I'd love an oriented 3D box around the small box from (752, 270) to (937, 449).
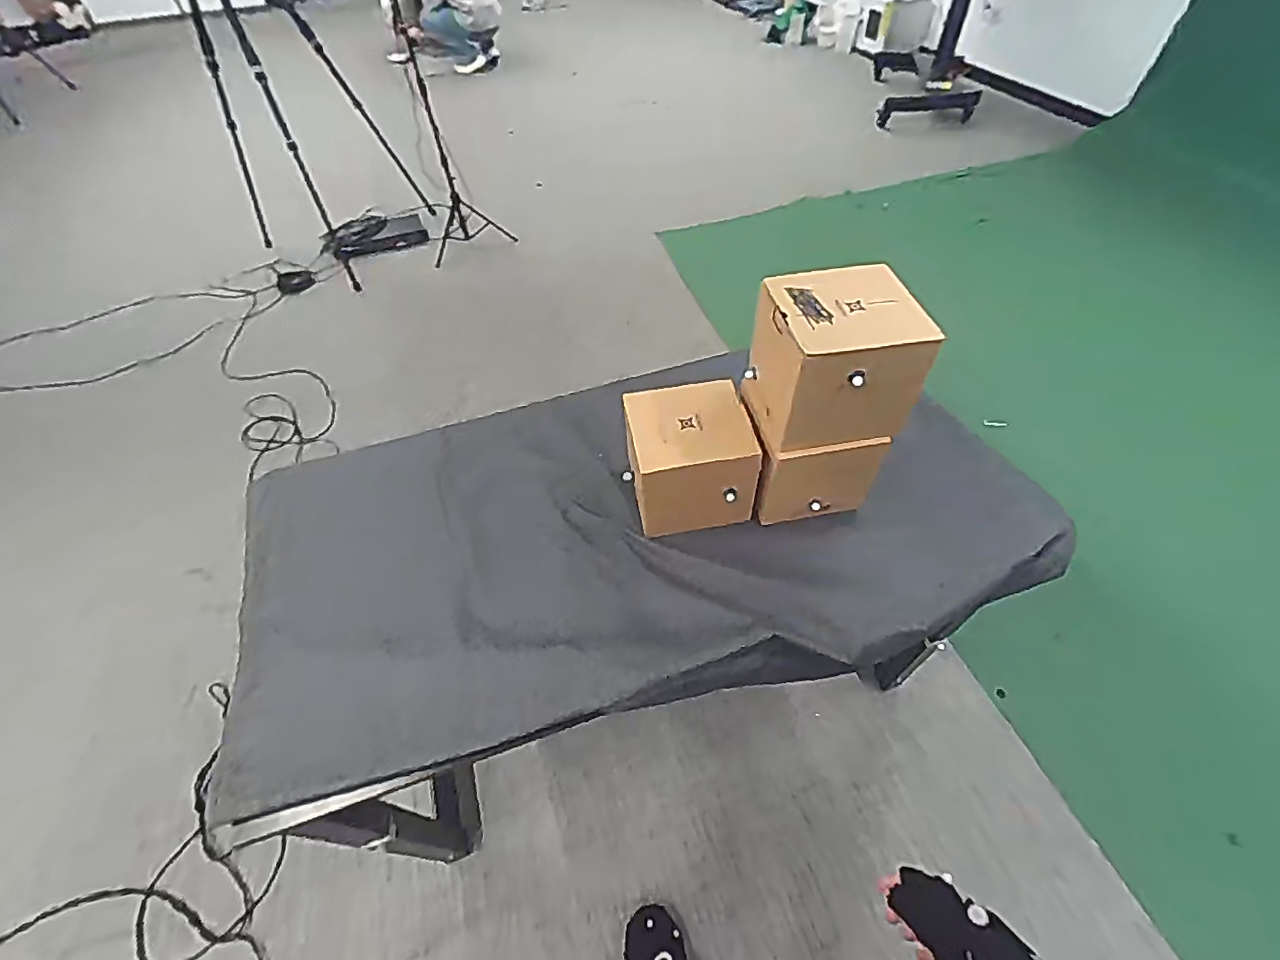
[{"bbox_3d":[0.259,-0.160,0.742,0.179,0.176,0.168,-9,52,-4],"label":"small box"}]
